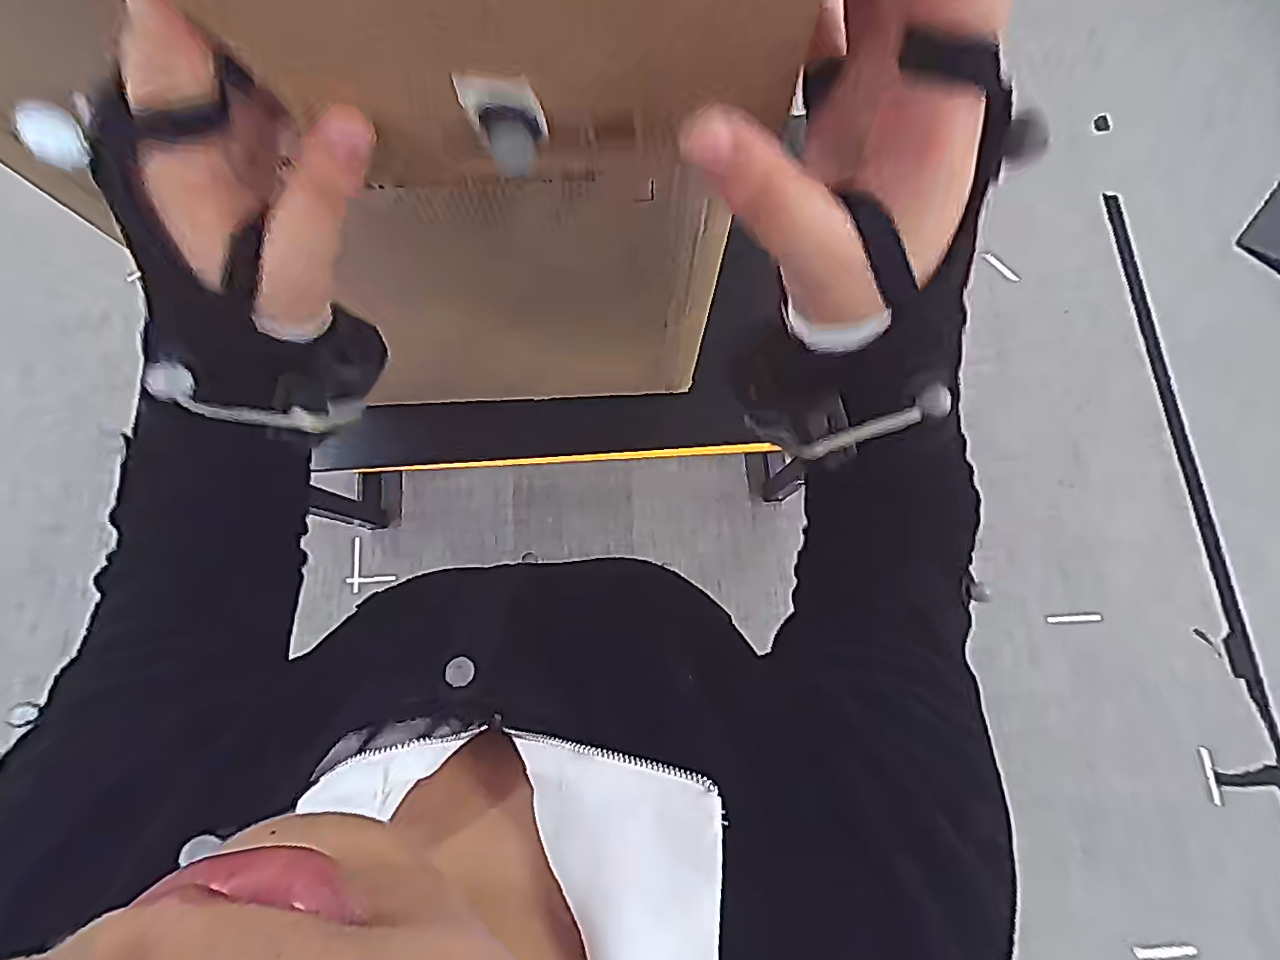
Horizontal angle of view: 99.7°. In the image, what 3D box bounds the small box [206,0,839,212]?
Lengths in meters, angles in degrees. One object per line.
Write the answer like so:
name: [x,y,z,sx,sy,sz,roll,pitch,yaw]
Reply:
small box: [-0.034,-0.198,0.138,0.168,0.176,0.179,-2,92,6]
